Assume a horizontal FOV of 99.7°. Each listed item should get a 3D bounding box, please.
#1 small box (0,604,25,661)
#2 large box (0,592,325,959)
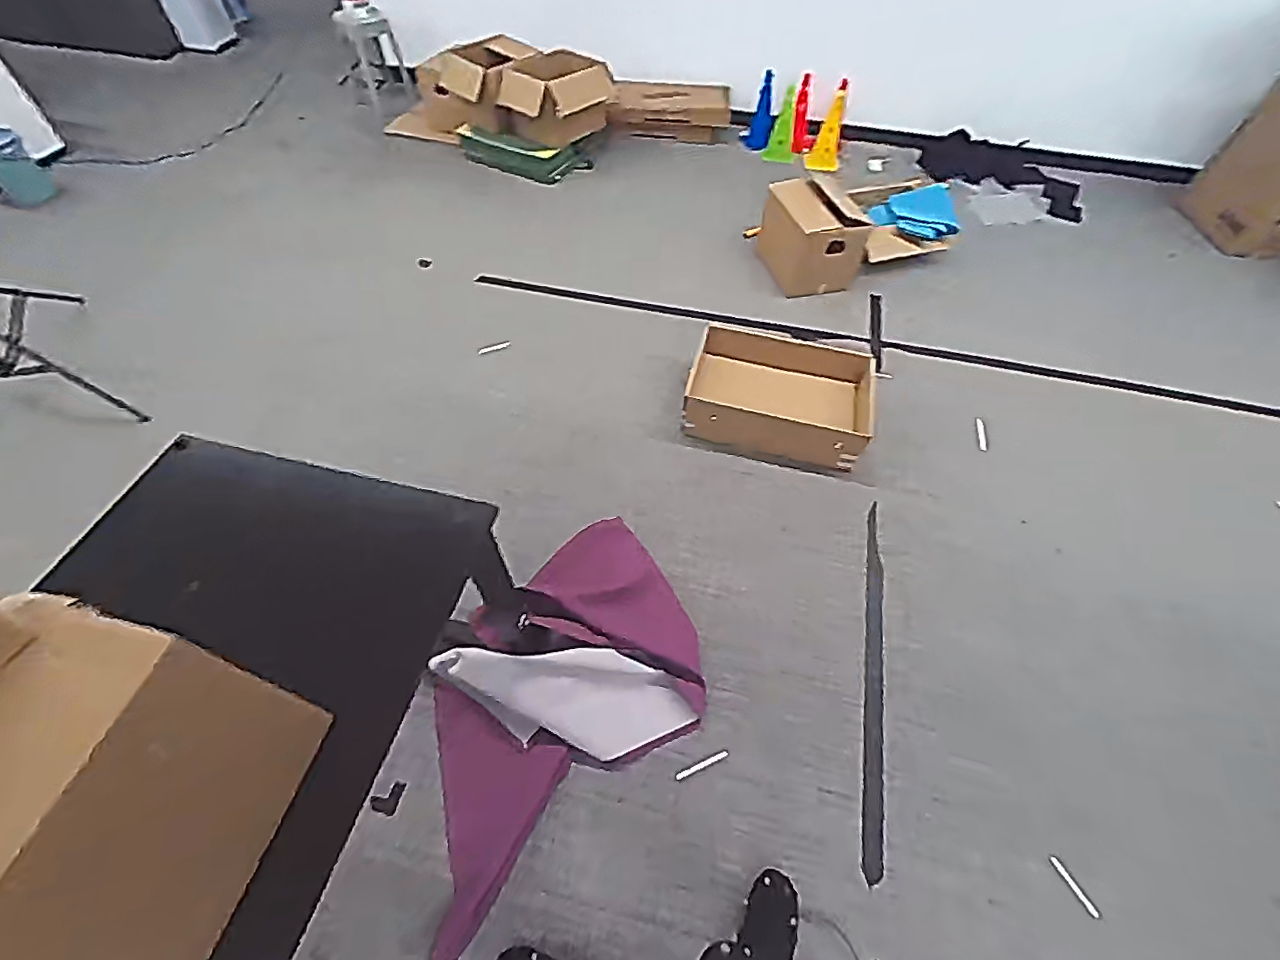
[{"bbox_3d":[-0.607,0.110,0.361,0.179,0.176,0.168,20,56,13],"label":"small box"},{"bbox_3d":[-0.587,0.352,0.486,0.320,0.320,0.408,11,53,5],"label":"large box"}]
